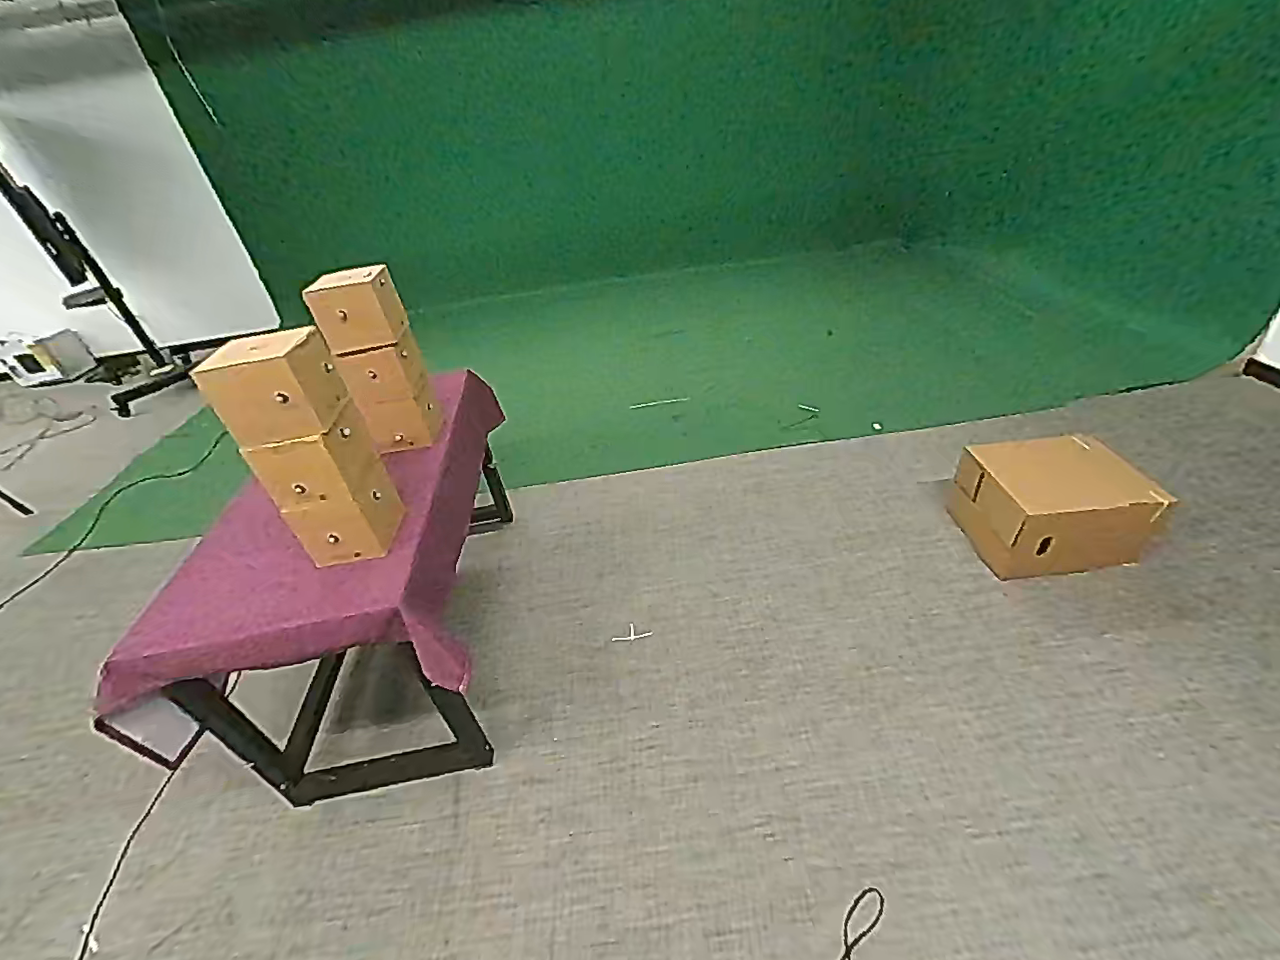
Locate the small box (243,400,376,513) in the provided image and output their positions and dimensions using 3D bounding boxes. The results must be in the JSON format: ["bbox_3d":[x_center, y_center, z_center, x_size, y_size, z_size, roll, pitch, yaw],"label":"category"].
[{"bbox_3d":[-0.707,-0.052,1.186,0.168,0.176,0.179,-9,37,0],"label":"small box"}]

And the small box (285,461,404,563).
[{"bbox_3d":[-0.684,0.081,1.278,0.168,0.176,0.179,-9,36,0],"label":"small box"}]

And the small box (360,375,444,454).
[{"bbox_3d":[-0.725,-0.202,1.671,0.168,0.176,0.179,-9,37,1],"label":"small box"}]

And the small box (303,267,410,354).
[{"bbox_3d":[-0.756,-0.456,1.463,0.179,0.176,0.168,-12,37,-1],"label":"small box"}]

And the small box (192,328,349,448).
[{"bbox_3d":[-0.727,-0.184,1.092,0.179,0.176,0.168,-11,36,-1],"label":"small box"}]
